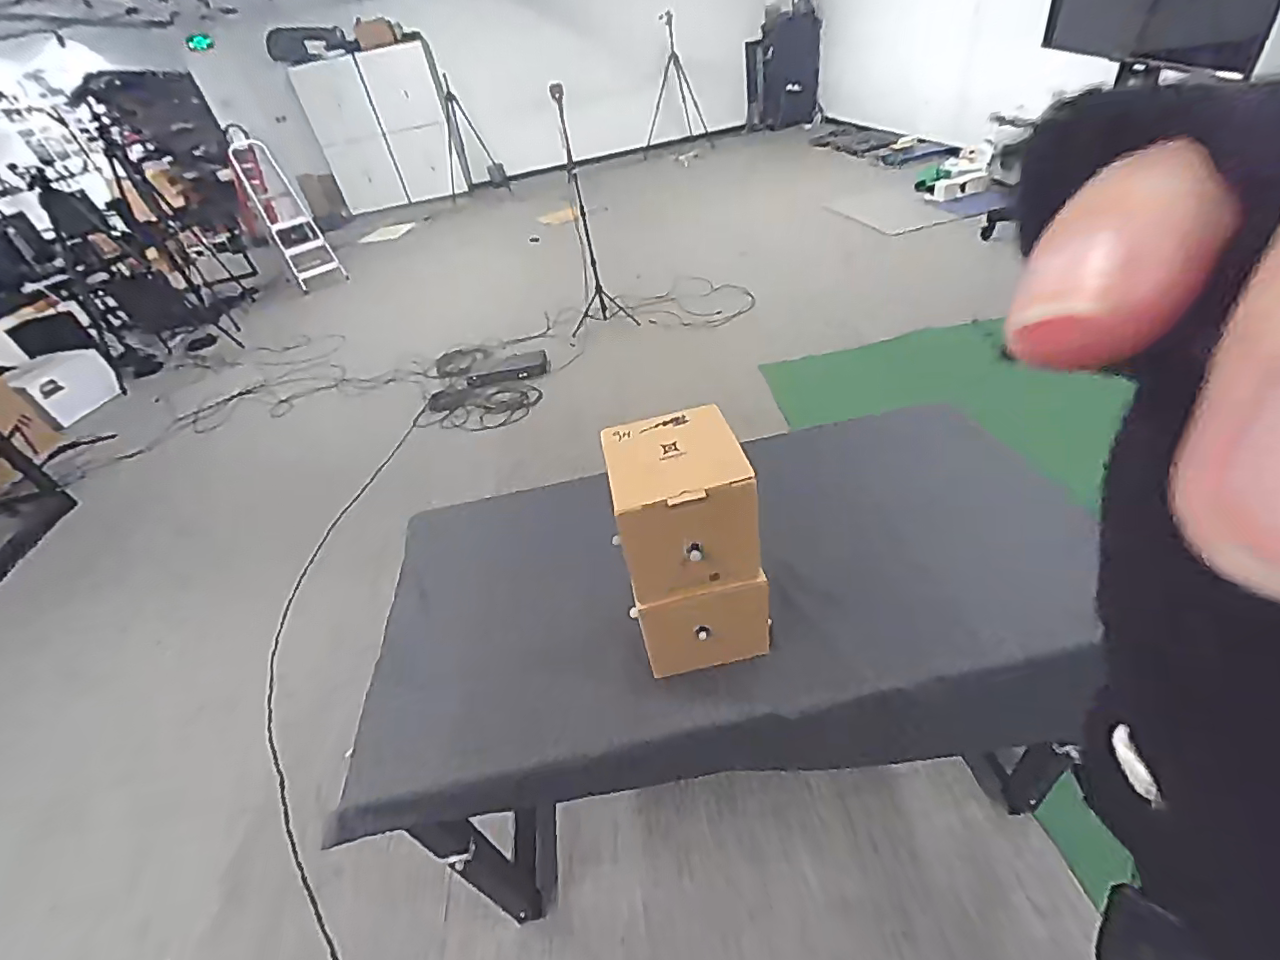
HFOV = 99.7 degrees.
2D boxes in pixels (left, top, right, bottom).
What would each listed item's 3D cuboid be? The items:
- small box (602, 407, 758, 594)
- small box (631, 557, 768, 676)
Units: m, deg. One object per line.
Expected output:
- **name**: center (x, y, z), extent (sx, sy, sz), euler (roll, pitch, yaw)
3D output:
- **small box**: center (0.053, 0.032, 0.720), extent (0.168, 0.176, 0.179), euler (-13, 39, -1)
- **small box**: center (0.084, 0.165, 0.811), extent (0.179, 0.176, 0.168), euler (-13, 38, 0)
